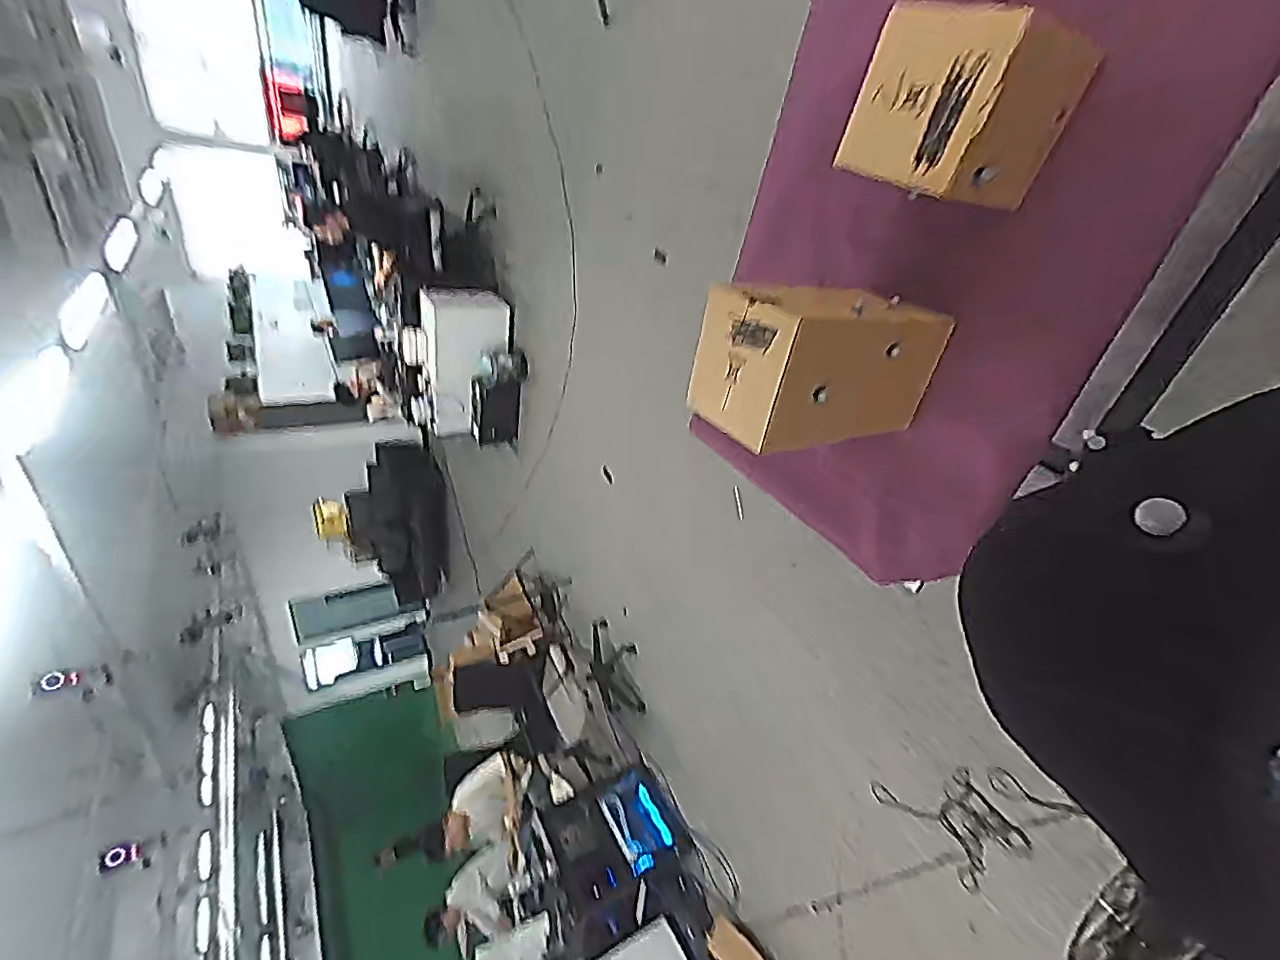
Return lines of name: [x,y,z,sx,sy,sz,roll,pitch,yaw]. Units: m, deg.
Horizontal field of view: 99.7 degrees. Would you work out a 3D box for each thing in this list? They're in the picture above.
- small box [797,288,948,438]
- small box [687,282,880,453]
small box: [0.329,-0.183,0.828,0.168,0.176,0.179,44,133,44]
small box: [0.193,-0.158,0.738,0.168,0.176,0.179,44,134,45]
